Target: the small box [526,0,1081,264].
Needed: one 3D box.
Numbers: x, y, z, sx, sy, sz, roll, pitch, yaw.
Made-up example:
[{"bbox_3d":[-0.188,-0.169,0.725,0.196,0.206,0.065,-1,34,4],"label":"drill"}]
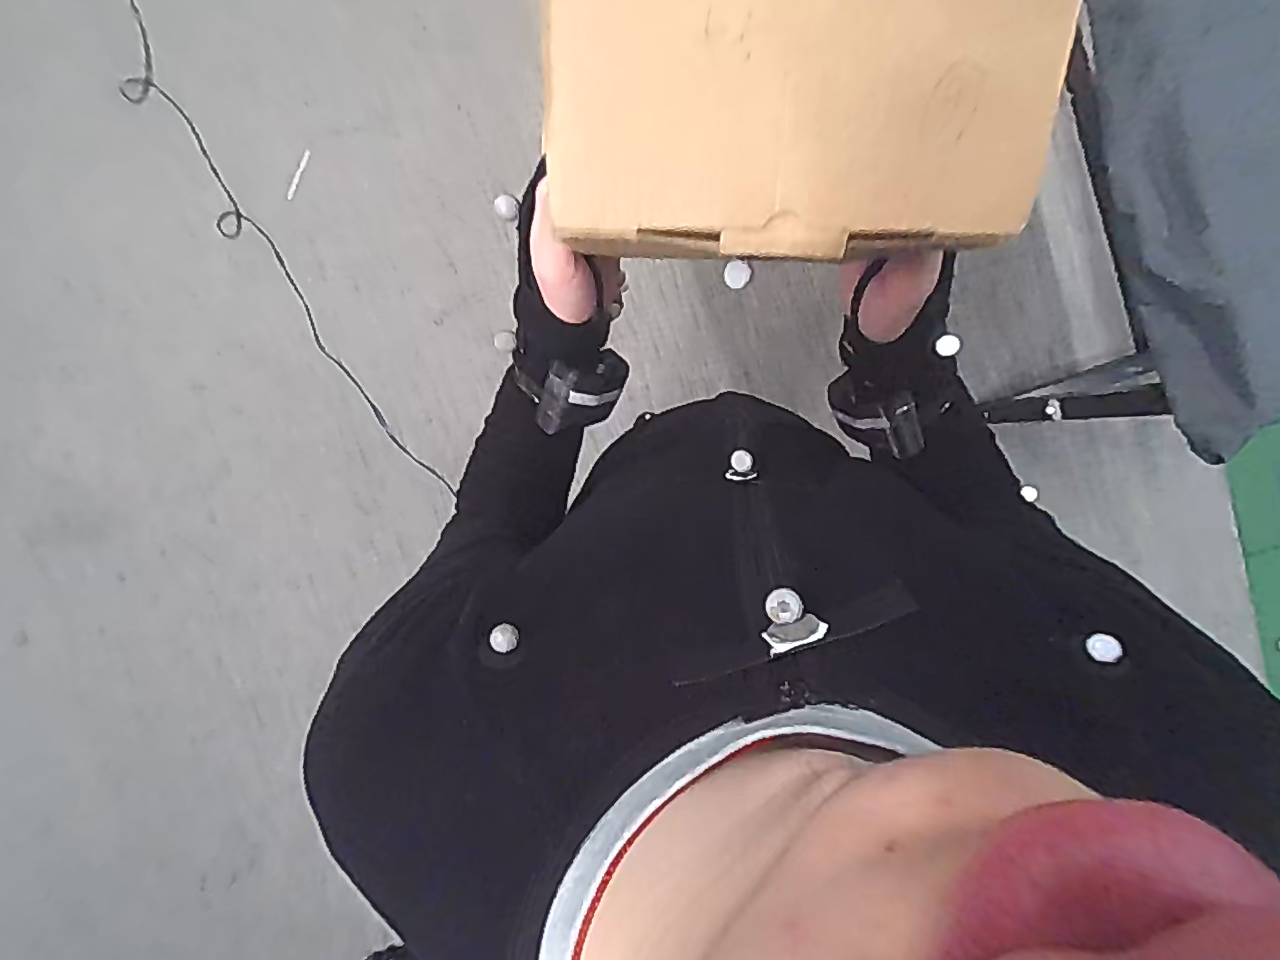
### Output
[{"bbox_3d":[0.048,-0.188,0.226,0.168,0.176,0.179,0,112,-2],"label":"small box"}]
